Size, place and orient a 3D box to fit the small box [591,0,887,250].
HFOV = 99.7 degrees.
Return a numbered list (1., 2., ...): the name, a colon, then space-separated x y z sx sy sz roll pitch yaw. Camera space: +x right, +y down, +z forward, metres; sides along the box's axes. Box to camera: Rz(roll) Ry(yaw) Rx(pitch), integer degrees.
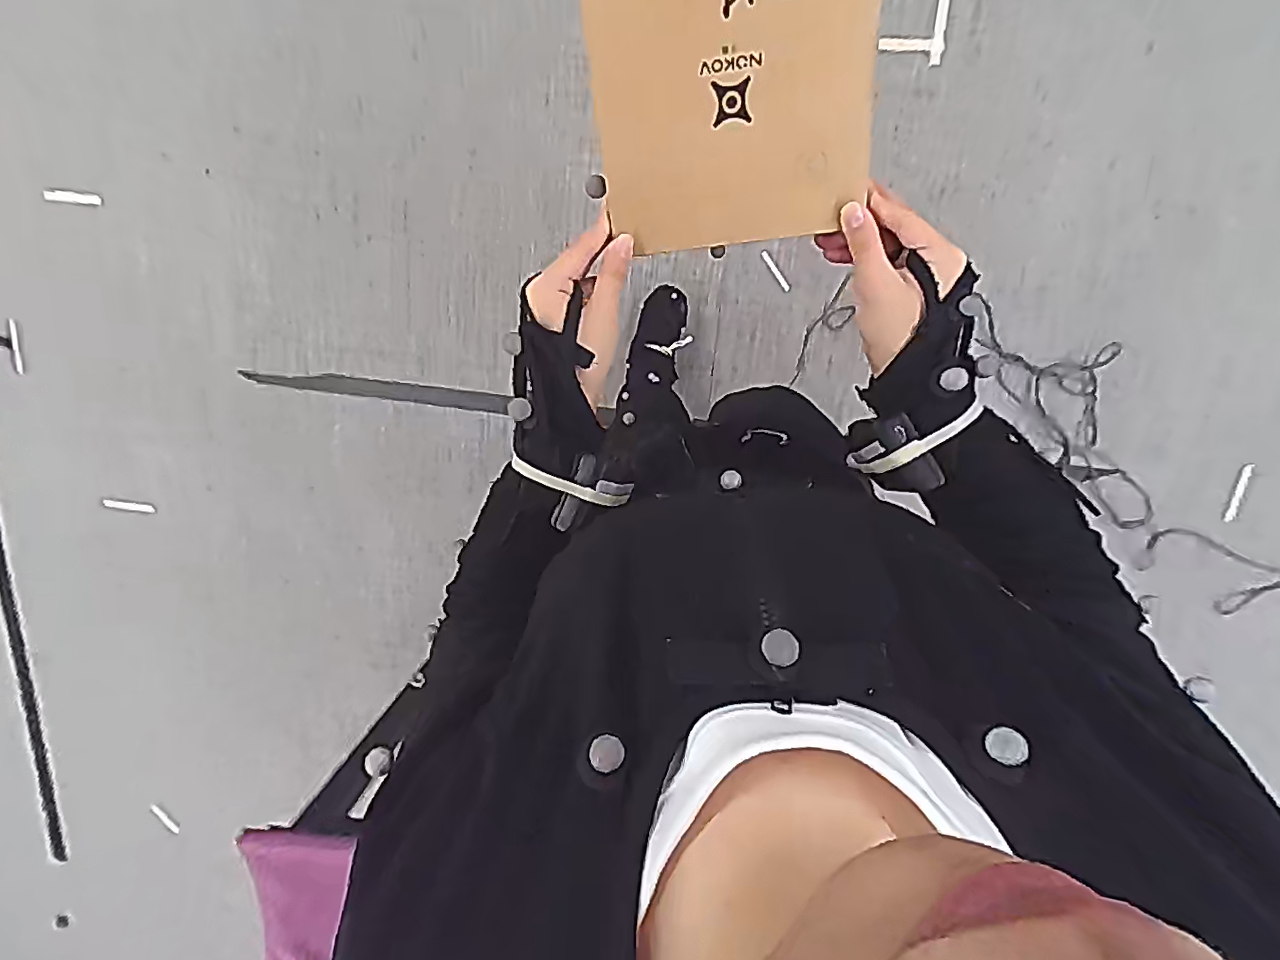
1. small box: 0.061 -0.273 0.387 0.168 0.176 0.179 -4 117 4
